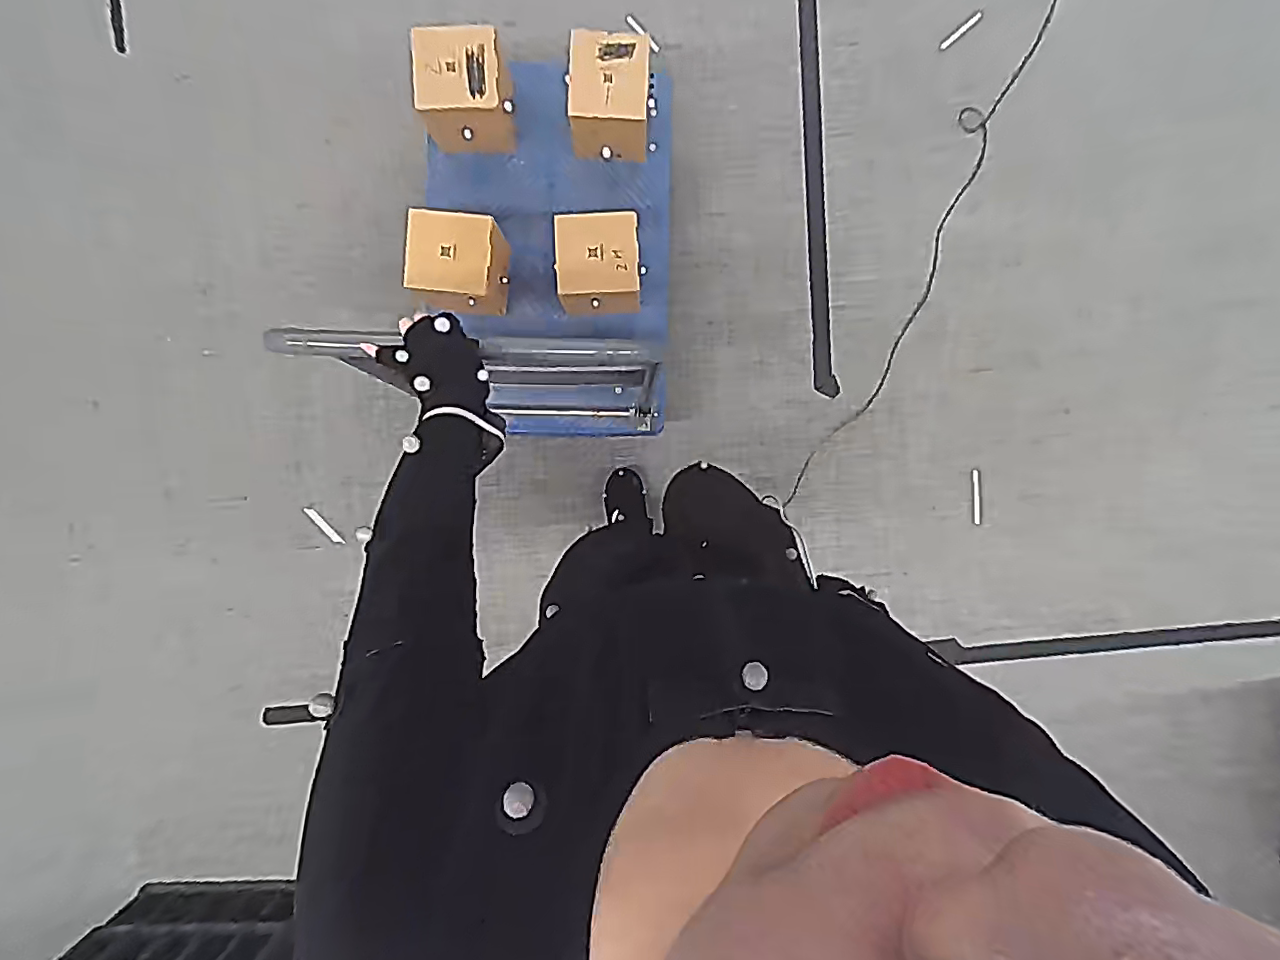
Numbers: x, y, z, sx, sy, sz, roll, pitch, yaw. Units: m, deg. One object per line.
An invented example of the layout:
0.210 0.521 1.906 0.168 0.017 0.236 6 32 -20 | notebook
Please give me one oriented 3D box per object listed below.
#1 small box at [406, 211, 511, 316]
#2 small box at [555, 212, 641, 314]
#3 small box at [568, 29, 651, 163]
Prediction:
-0.398 -0.474 1.205 0.179 0.176 0.168 4 91 -2 | small box
-0.088 -0.475 1.207 0.179 0.176 0.168 -3 92 0 | small box
-0.065 -0.839 1.194 0.168 0.176 0.179 3 93 -1 | small box
